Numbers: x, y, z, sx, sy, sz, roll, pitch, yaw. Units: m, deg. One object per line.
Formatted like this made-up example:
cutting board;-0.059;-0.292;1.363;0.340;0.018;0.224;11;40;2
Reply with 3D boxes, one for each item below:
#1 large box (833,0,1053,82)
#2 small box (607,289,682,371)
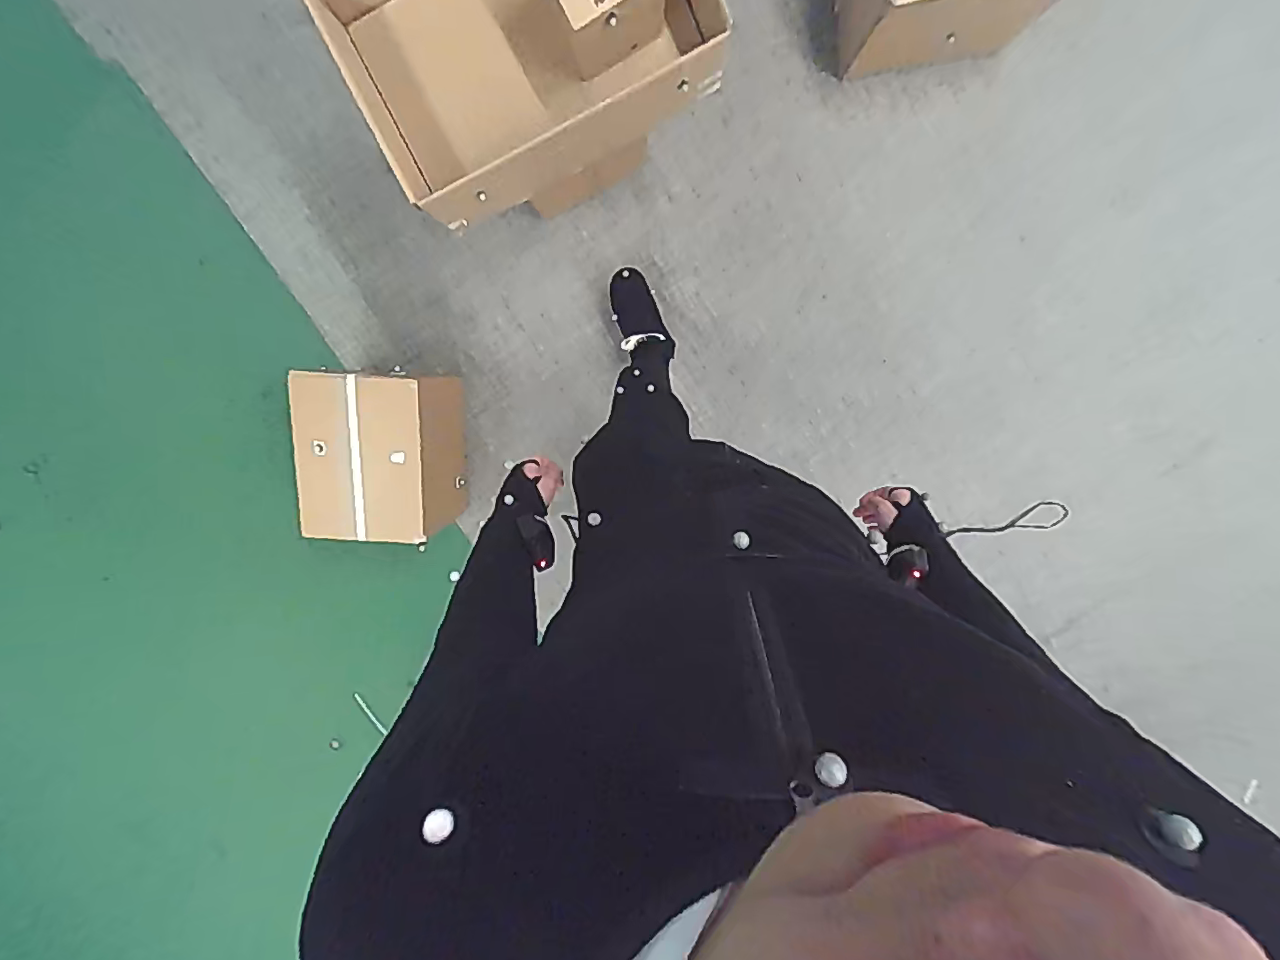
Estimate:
large box;0.672;-1.148;1.182;0.408;0.320;0.320;-9;102;4
small box;0.013;-0.406;1.441;0.168;0.176;0.179;12;112;-1
